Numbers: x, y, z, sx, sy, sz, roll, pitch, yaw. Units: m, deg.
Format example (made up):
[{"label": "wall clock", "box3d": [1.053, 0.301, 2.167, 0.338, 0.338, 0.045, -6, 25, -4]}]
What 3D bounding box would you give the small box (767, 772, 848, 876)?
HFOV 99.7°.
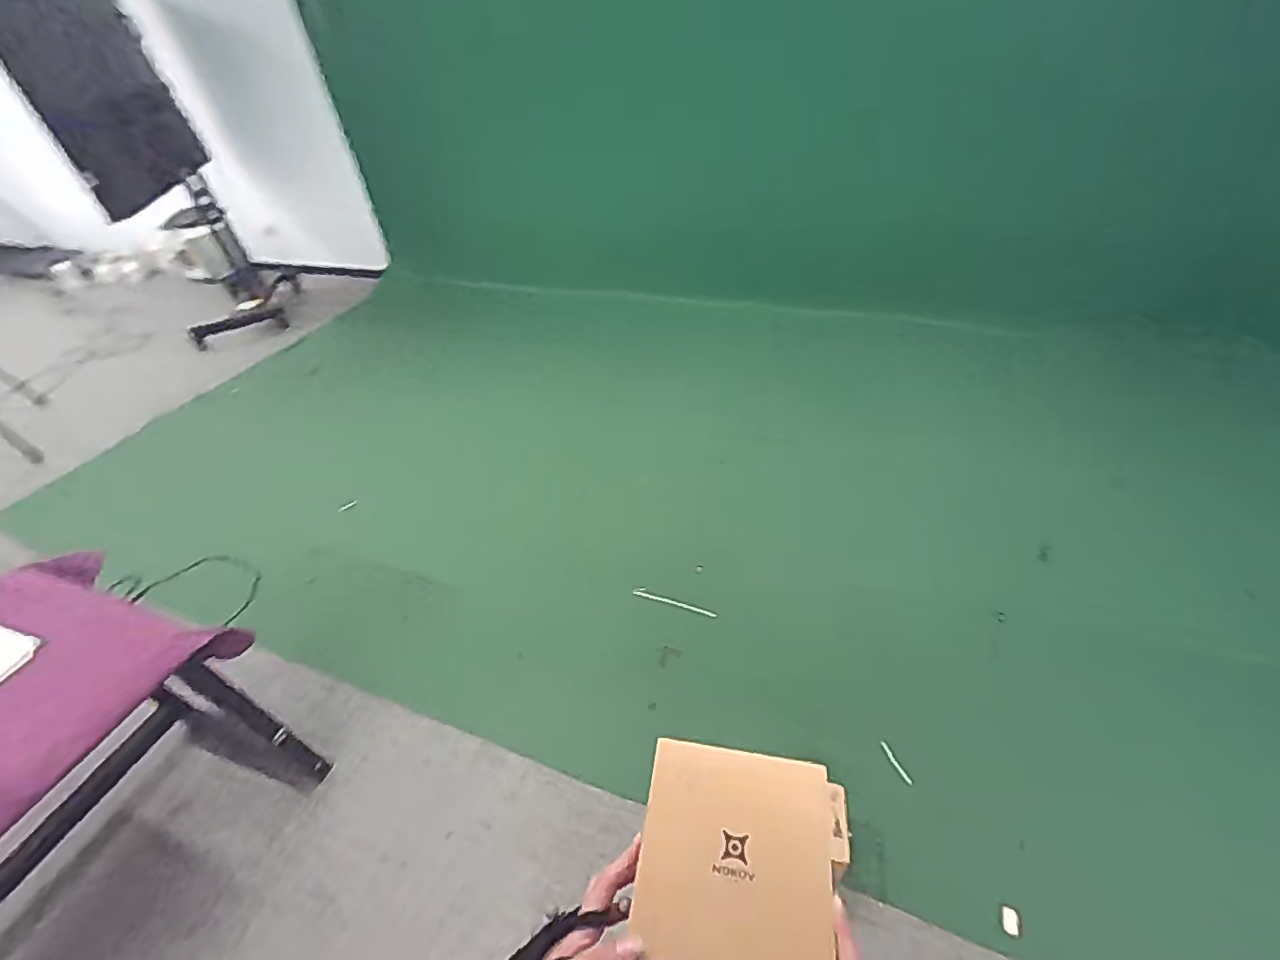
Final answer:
[{"label": "small box", "box3d": [0.407, 0.853, 1.338, 0.179, 0.176, 0.168, 4, 43, 11]}]
